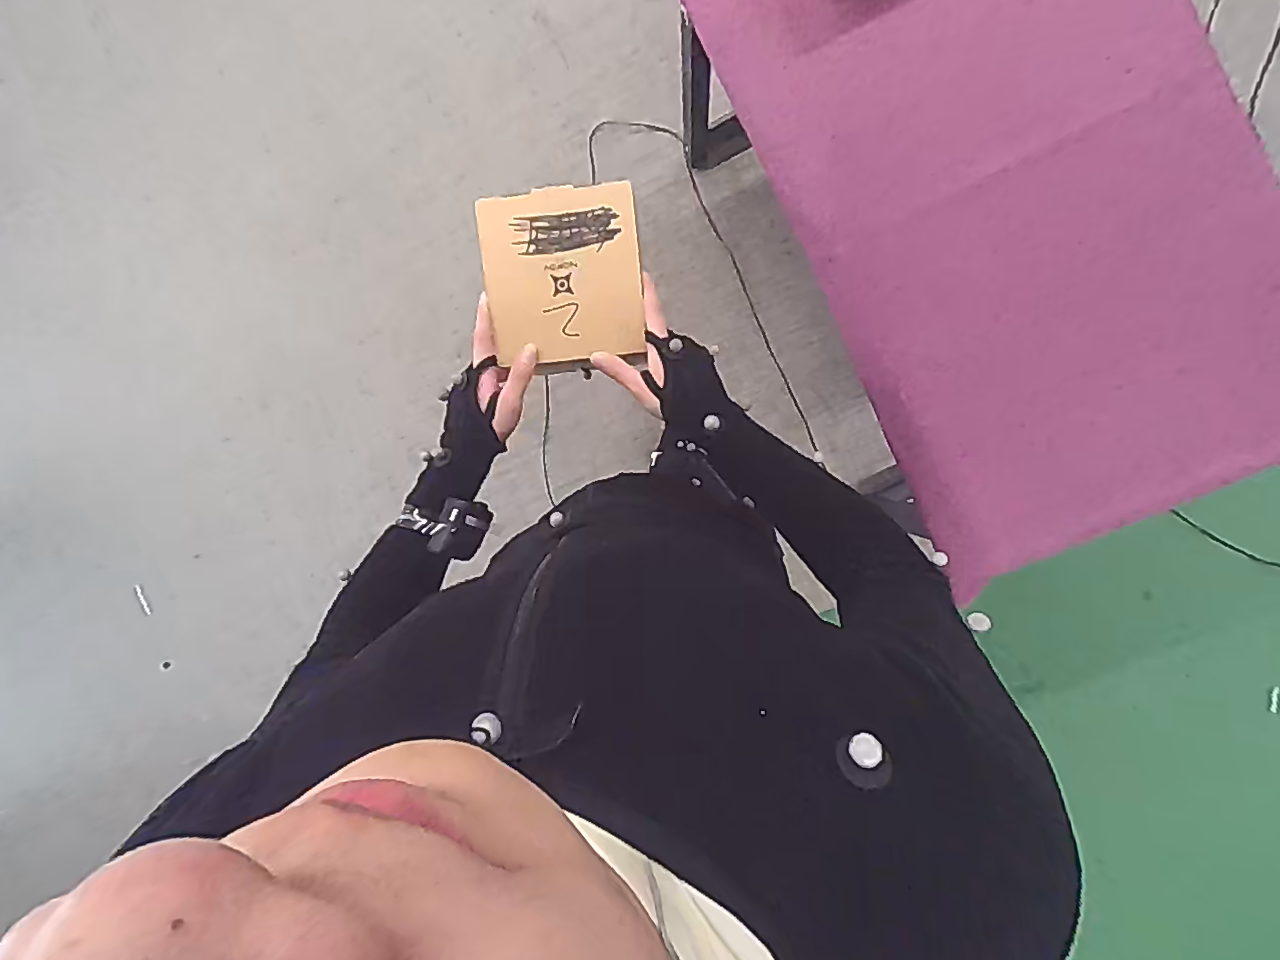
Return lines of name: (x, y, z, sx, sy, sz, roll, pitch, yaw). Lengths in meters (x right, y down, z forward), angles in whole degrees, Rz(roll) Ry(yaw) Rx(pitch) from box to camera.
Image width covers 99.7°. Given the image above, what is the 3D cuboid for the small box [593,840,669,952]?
small box: (-0.020, 1.208, 1.580, 0.168, 0.176, 0.179, -23, 90, 5)
